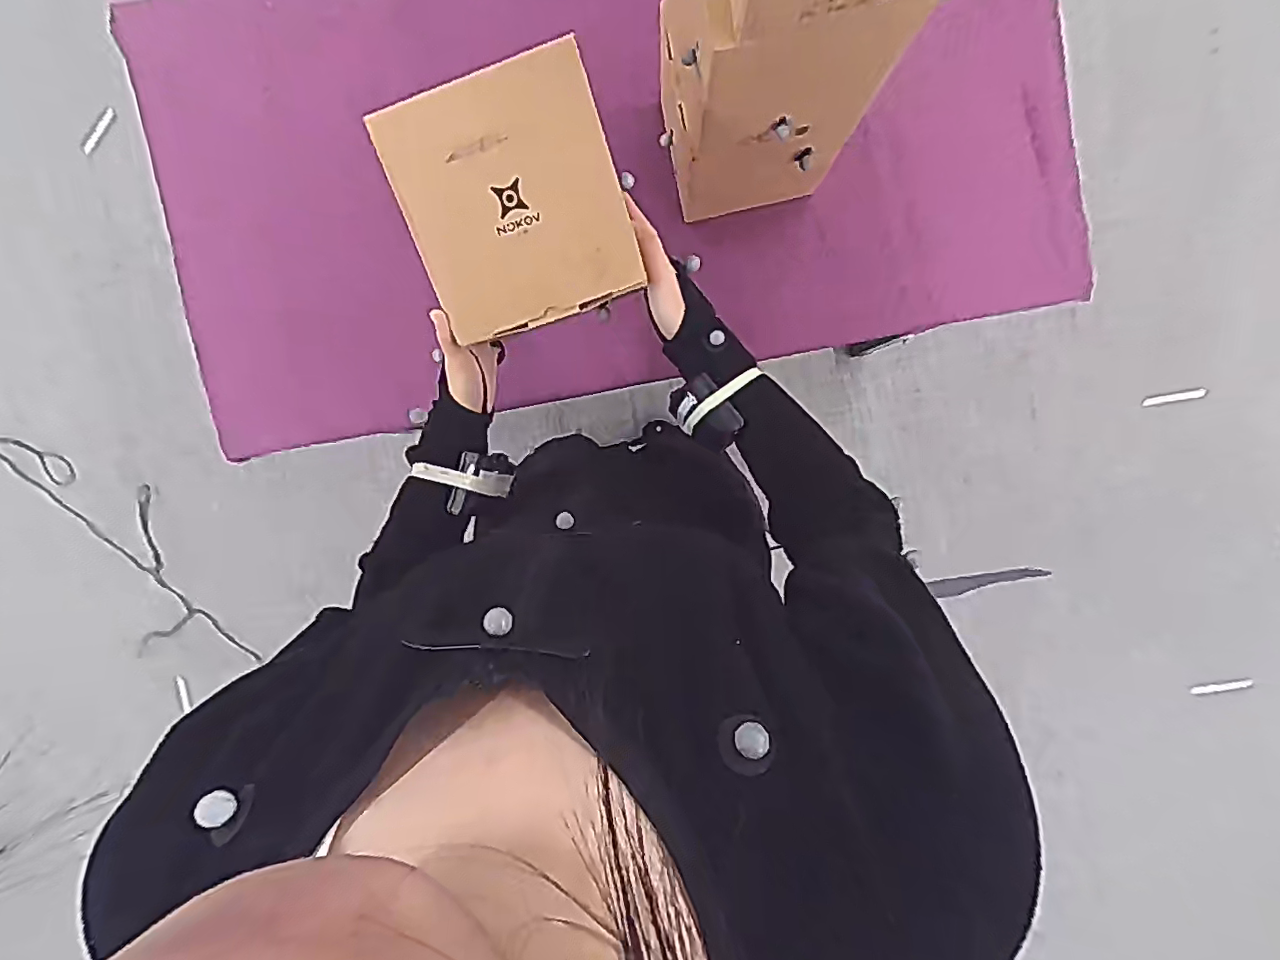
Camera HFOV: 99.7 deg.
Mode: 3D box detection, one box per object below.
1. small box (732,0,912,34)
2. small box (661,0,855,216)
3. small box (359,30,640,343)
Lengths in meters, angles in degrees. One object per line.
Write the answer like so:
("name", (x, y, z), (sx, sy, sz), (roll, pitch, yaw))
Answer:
("small box", (0.128, -0.413, 0.301), (0.168, 0.176, 0.179), (-12, 94, 4))
("small box", (0.124, -0.436, 0.628), (0.179, 0.176, 0.168), (-11, 93, 4))
("small box", (-0.101, -0.237, 0.484), (0.168, 0.176, 0.179), (-18, 106, 5))
